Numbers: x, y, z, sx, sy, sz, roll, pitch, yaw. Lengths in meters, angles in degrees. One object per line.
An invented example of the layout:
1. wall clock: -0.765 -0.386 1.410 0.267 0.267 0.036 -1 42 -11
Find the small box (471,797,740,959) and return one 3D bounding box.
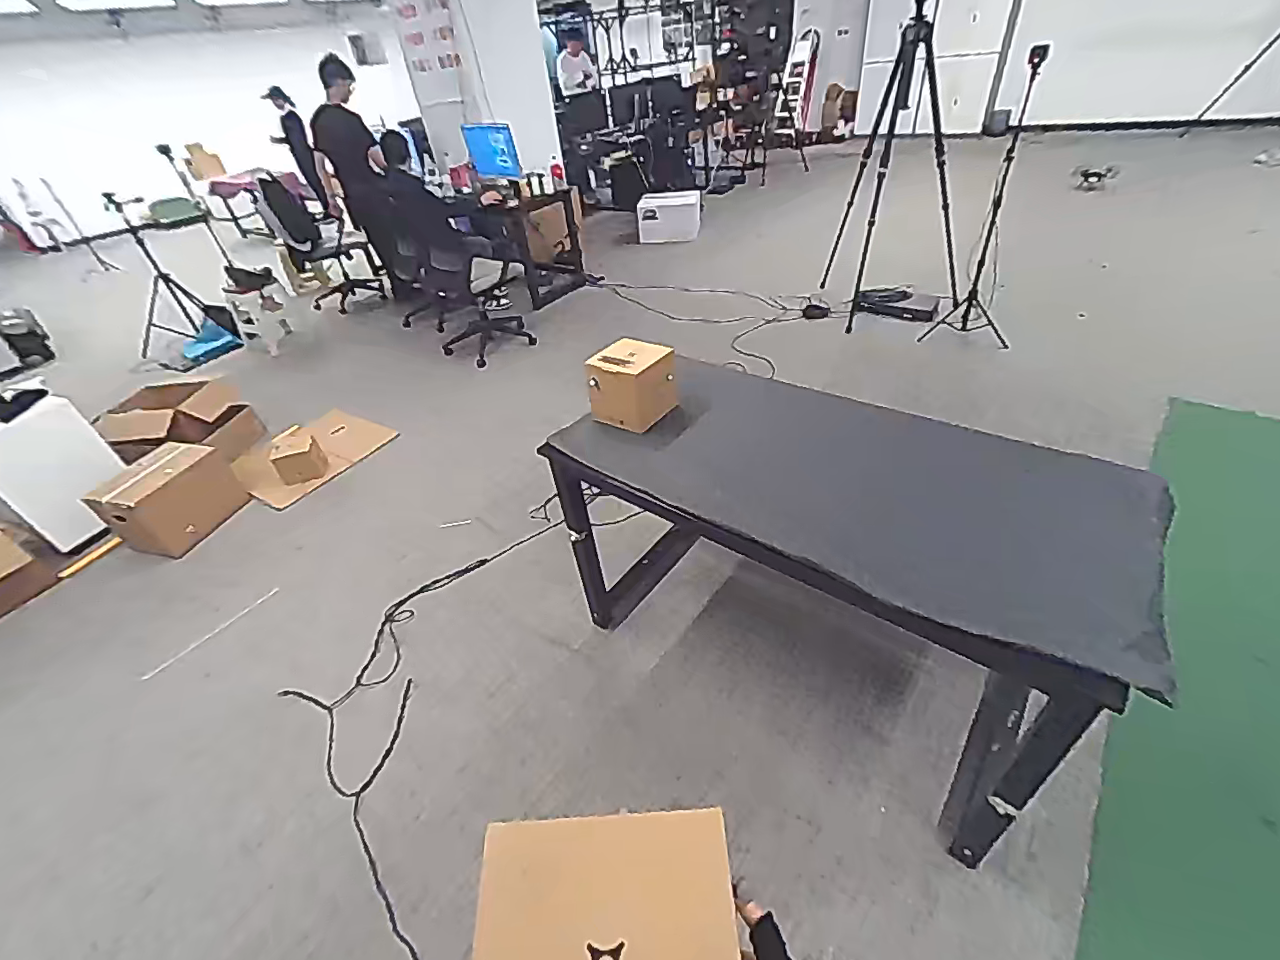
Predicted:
1. small box: -0.015 0.344 0.382 0.168 0.176 0.179 -6 50 2
